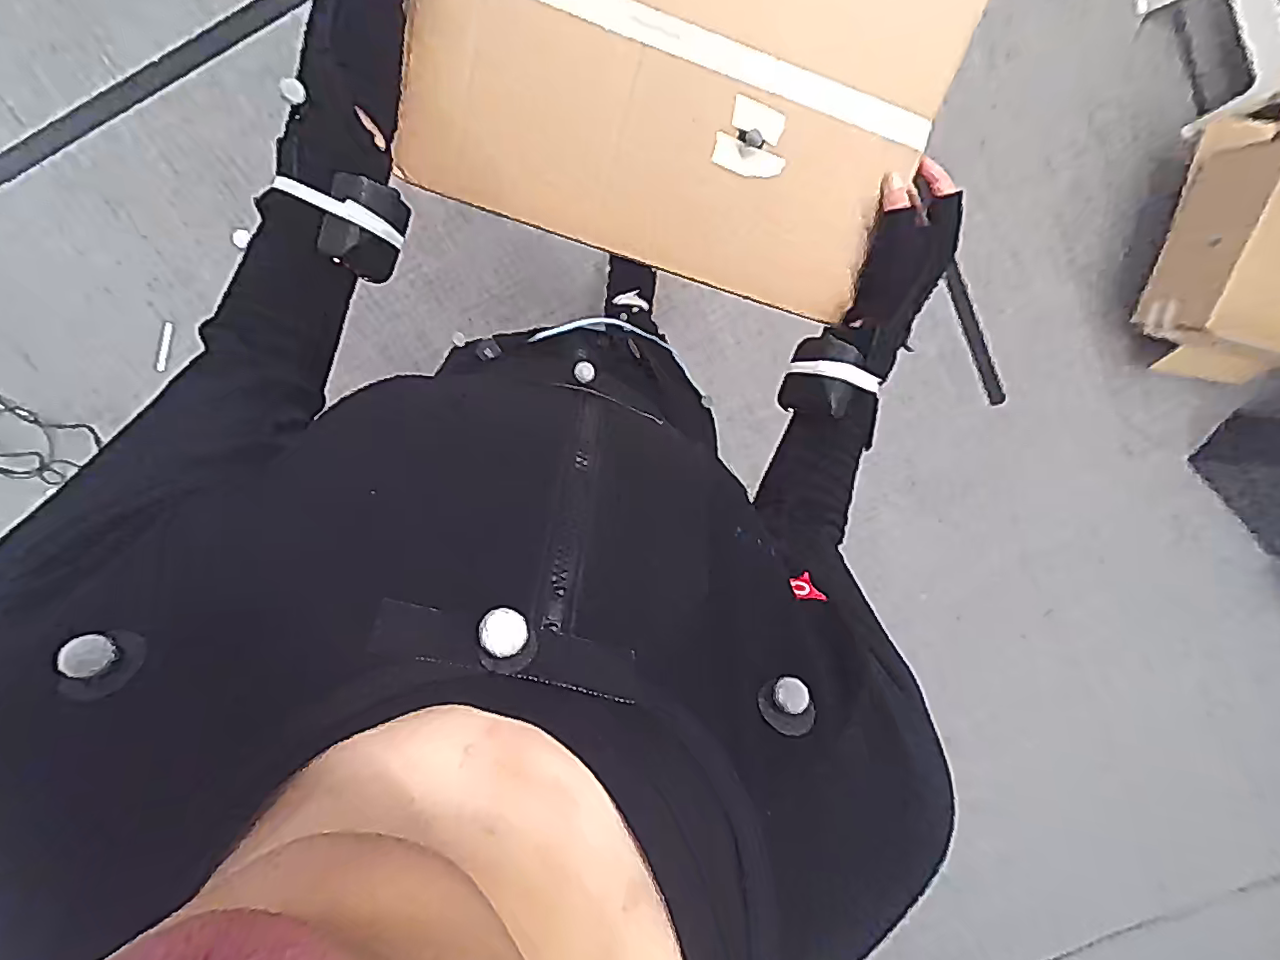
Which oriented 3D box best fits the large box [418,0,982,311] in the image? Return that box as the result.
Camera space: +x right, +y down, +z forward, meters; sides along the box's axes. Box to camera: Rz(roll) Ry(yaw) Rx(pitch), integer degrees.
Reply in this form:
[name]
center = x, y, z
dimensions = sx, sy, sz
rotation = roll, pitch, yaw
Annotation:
[large box]
center = 0.038, -0.398, 0.554
dimensions = 0.408, 0.320, 0.320
rotation = 15, 113, -10
